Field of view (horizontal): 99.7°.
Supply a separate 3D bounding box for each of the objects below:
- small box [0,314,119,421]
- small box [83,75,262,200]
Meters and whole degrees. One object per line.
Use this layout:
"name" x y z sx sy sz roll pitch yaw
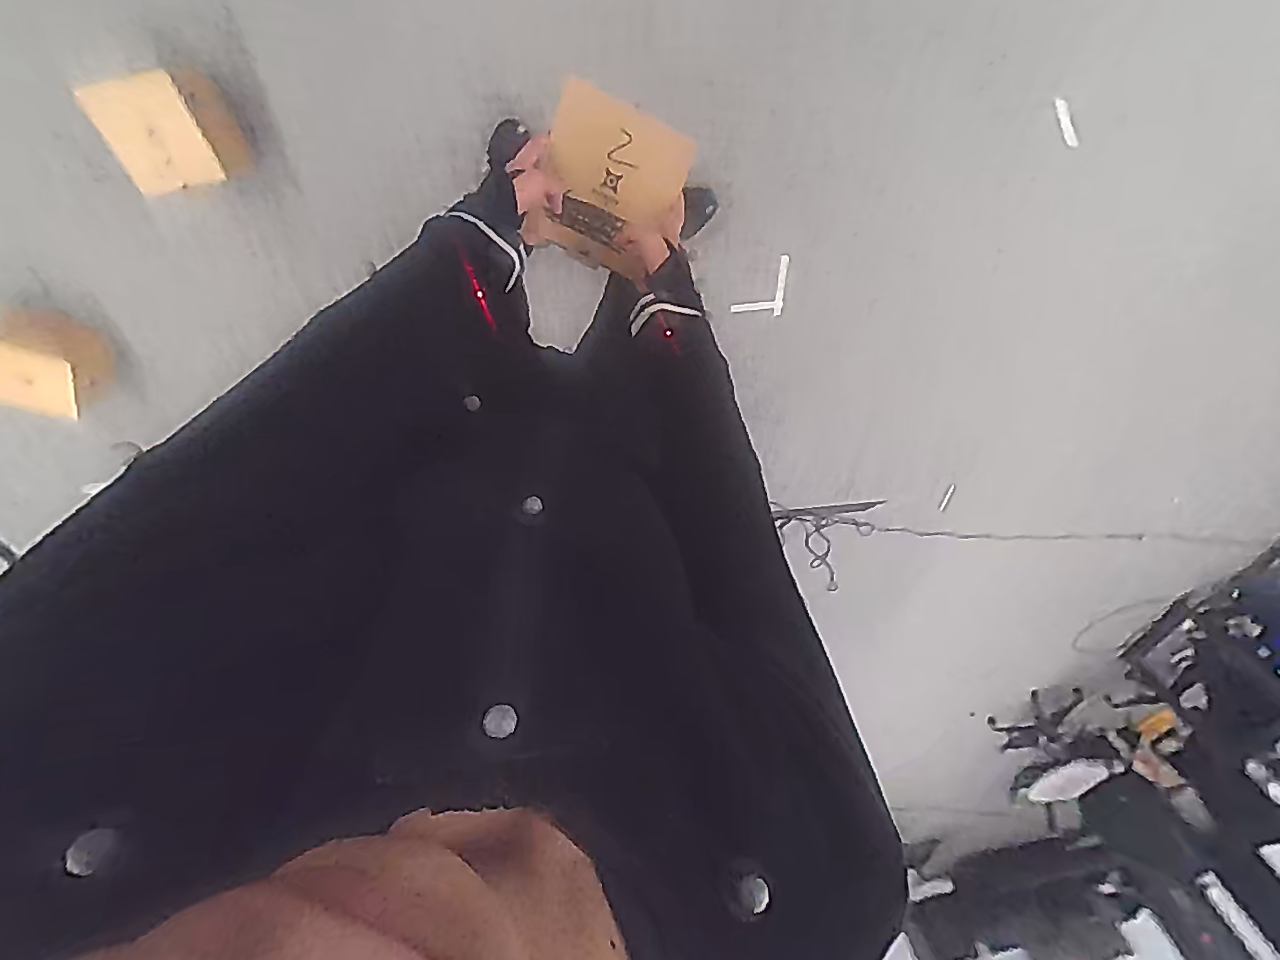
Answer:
"small box" -1.397 -0.272 1.295 0.179 0.176 0.168 16 124 -23
"small box" -0.896 -0.676 1.060 0.168 0.176 0.179 -13 131 -1
